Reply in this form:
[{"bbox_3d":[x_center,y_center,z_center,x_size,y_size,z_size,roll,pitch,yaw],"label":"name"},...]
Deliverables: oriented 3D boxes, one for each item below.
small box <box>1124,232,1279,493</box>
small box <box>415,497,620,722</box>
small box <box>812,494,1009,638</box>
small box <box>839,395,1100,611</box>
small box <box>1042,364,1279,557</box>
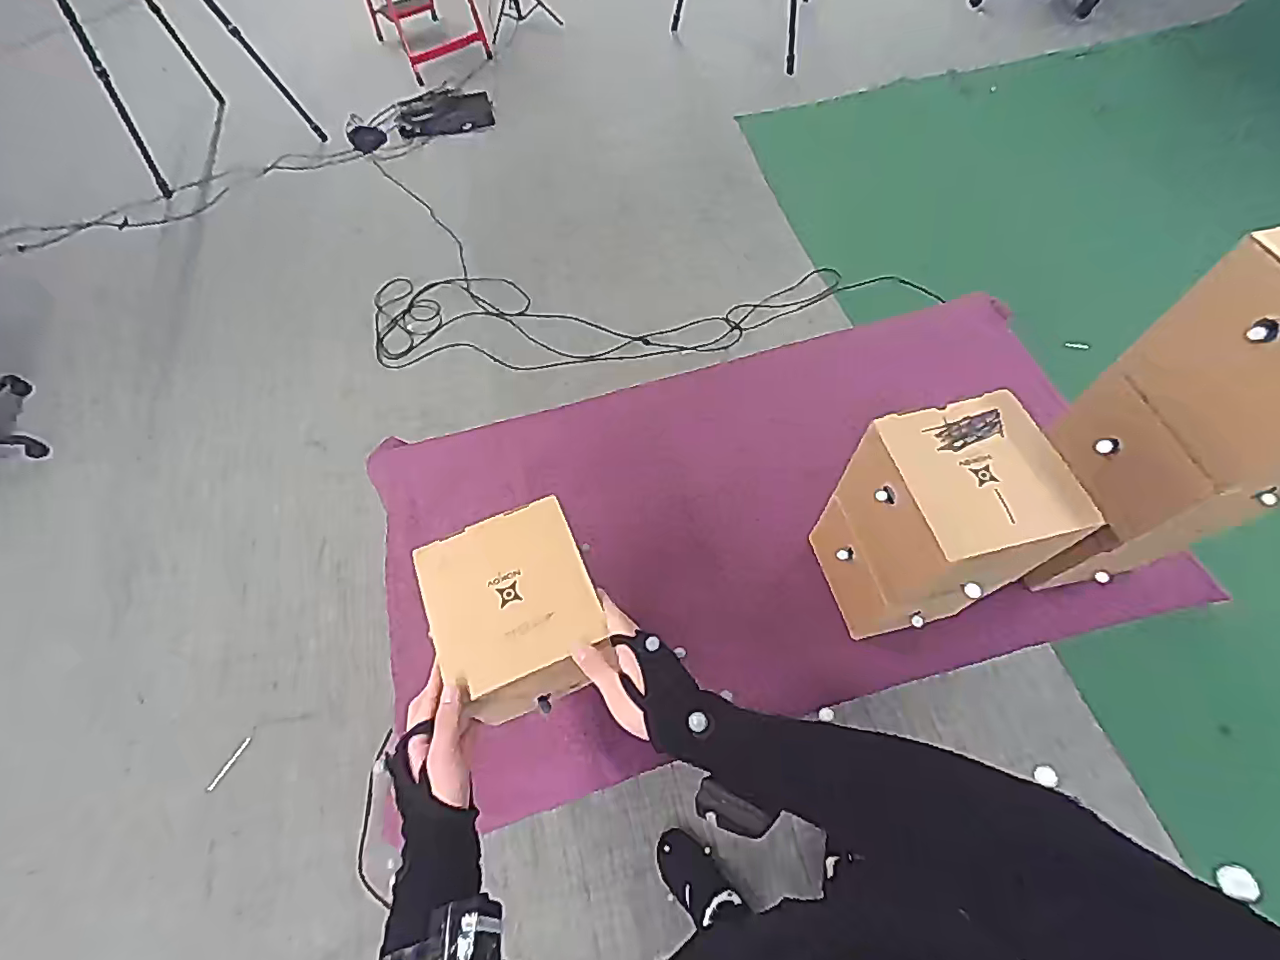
[{"bbox_3d":[0.620,-0.111,0.498,0.168,0.176,0.179,-11,61,-1],"label":"small box"},{"bbox_3d":[-0.131,0.153,0.617,0.168,0.176,0.179,-21,62,-9],"label":"small box"},{"bbox_3d":[0.367,0.114,0.774,0.168,0.176,0.179,-13,60,-3],"label":"small box"},{"bbox_3d":[0.356,0.032,0.632,0.168,0.176,0.179,-13,61,-2],"label":"small box"},{"bbox_3d":[0.631,-0.030,0.642,0.168,0.176,0.179,-12,60,-1],"label":"small box"}]
